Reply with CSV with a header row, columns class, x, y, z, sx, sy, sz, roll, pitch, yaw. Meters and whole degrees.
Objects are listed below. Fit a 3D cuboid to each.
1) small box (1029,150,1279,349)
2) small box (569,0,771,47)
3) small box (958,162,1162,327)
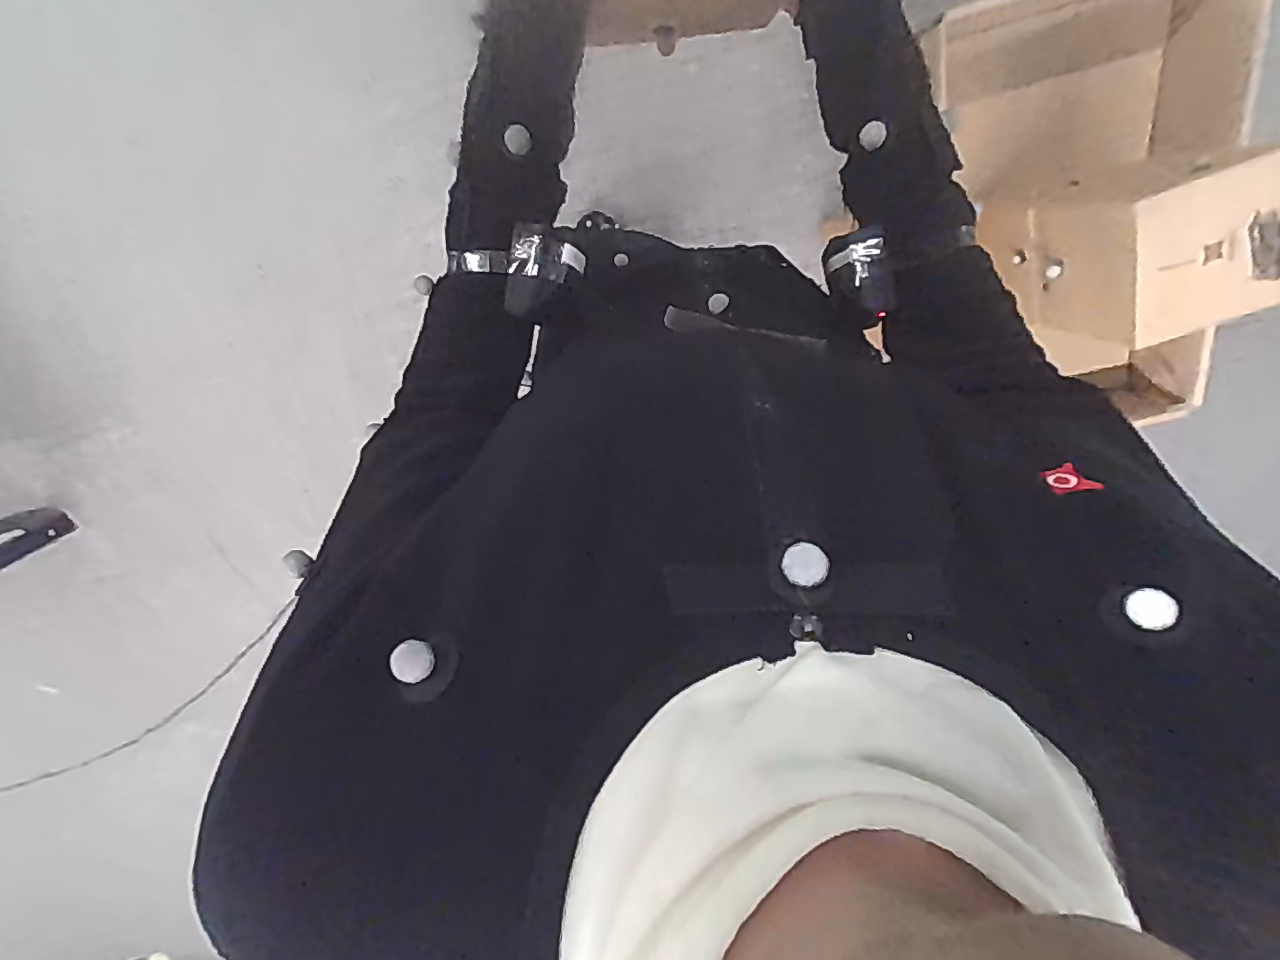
class,x,y,z,sx,sy,sz,roll,pitch,yaw
small box,0.620,-0.279,0.658,0.179,0.176,0.168,-18,113,8
small box,0.017,-0.430,0.359,0.168,0.176,0.179,-7,115,2
small box,0.616,-0.347,0.808,0.179,0.176,0.168,-19,112,7
